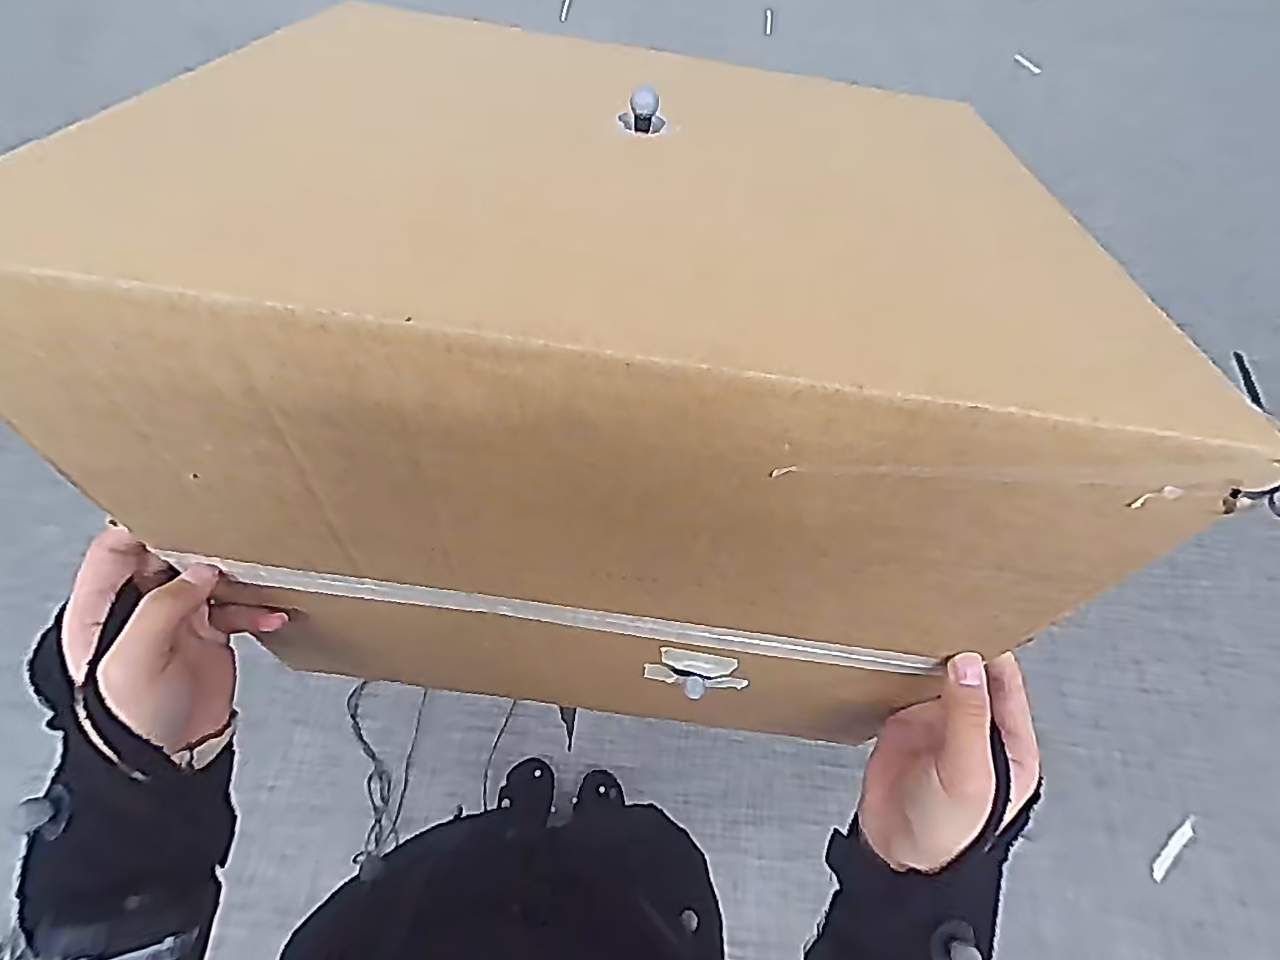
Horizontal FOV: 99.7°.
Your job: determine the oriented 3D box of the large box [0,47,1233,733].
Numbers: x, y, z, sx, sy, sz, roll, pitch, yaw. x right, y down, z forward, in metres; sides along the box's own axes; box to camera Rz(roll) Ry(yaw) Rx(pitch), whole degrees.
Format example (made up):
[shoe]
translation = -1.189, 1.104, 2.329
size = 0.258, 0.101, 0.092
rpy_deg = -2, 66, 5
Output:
[large box]
translation = -0.018, -0.051, 0.370
size = 0.408, 0.320, 0.320
rpy_deg = 7, 51, -1
